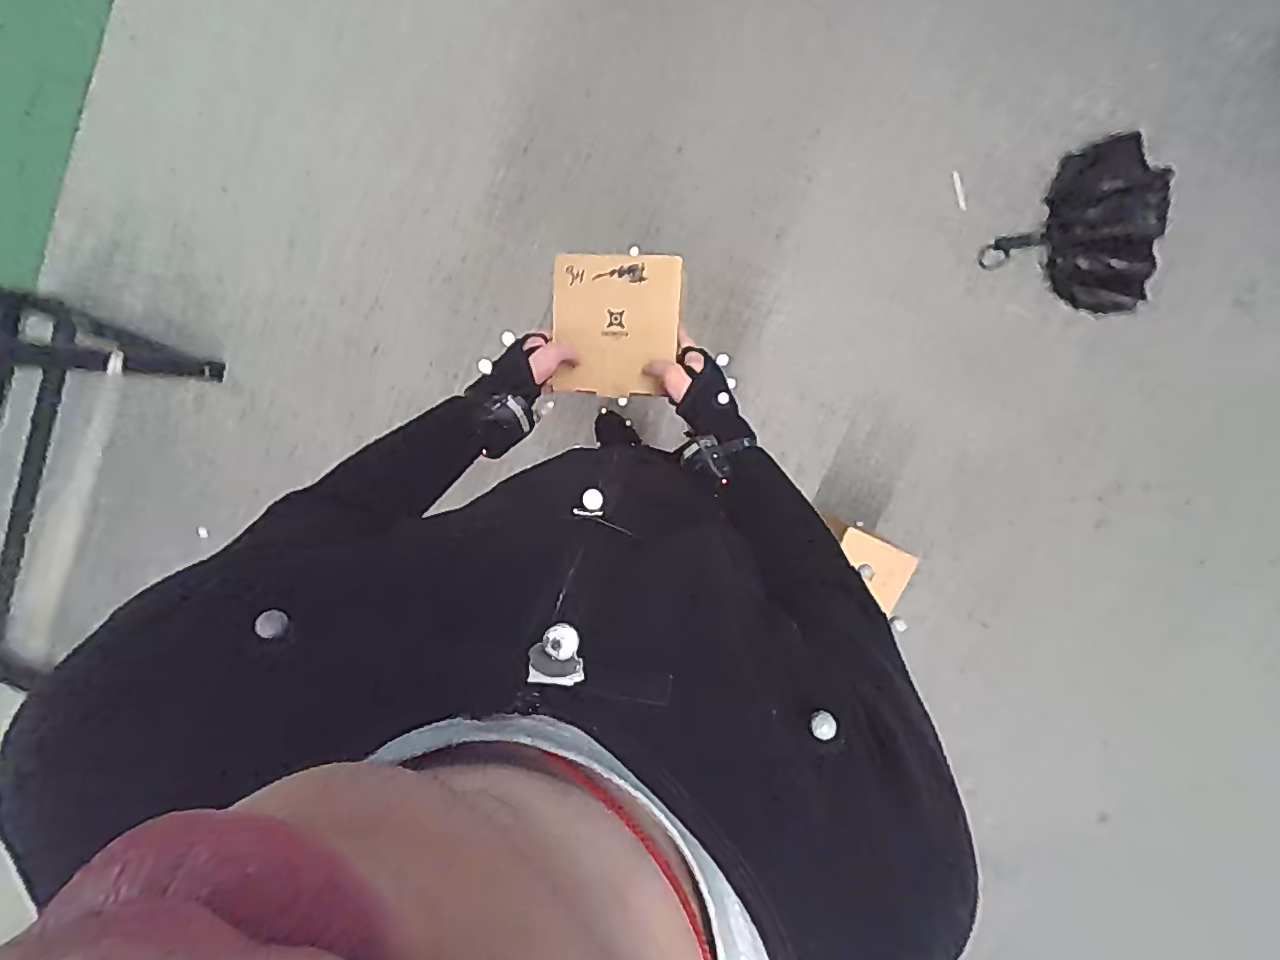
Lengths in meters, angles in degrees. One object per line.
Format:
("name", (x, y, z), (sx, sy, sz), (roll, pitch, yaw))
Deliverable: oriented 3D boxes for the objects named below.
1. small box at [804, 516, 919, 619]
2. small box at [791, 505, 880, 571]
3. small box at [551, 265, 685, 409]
("small box", (0.520, 0.200, 1.302), (0.179, 0.176, 0.168), (24, 100, -1))
("small box", (0.535, 0.179, 1.462), (0.179, 0.176, 0.168), (23, 99, 1))
("small box", (-0.024, -0.199, 0.767), (0.168, 0.176, 0.179), (3, 103, 6))
